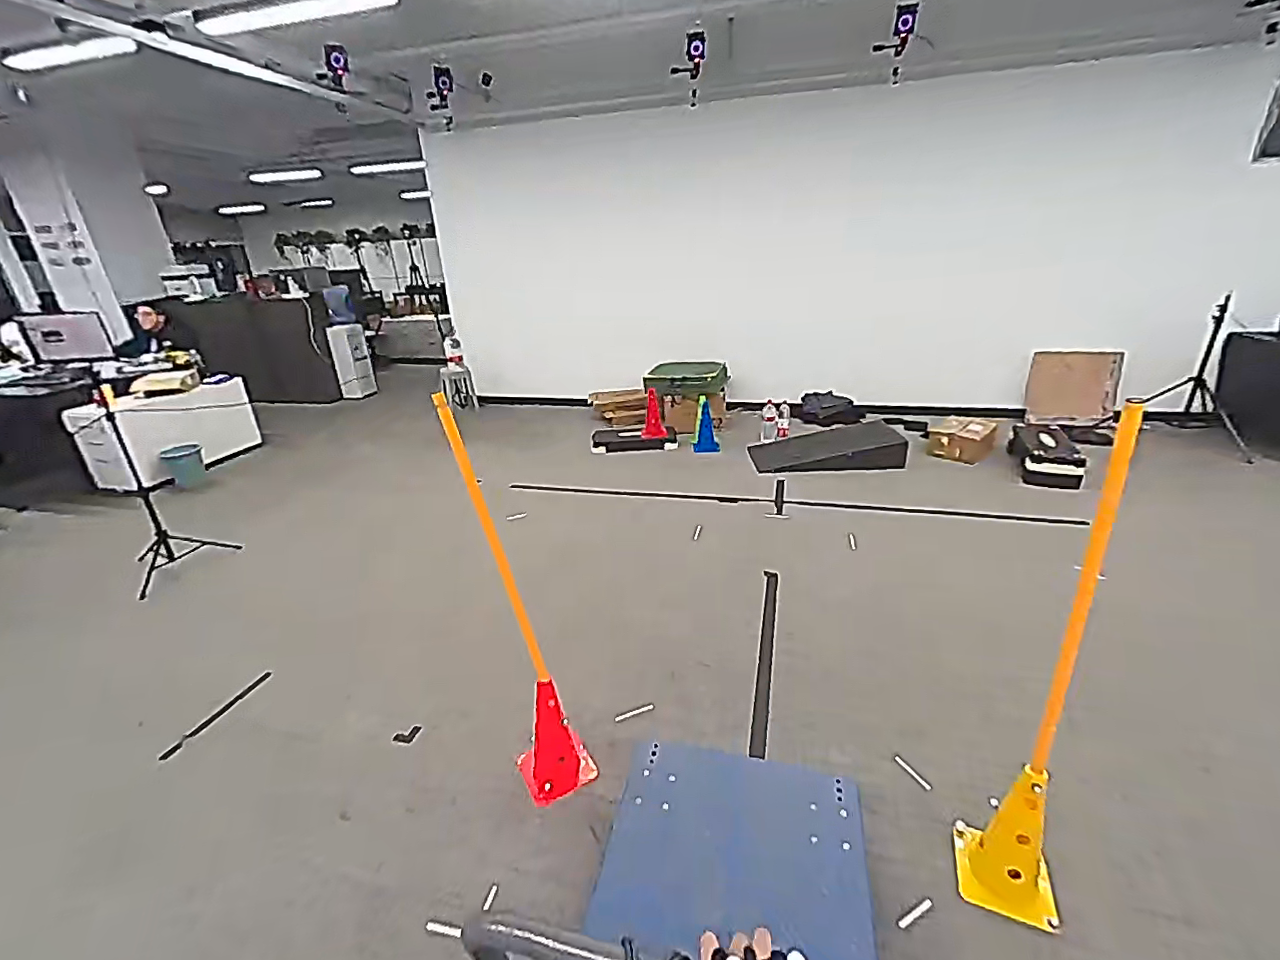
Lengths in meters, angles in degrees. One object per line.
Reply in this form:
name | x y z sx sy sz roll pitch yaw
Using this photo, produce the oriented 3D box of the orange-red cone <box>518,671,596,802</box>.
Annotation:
orange-red cone | -0.257 0.708 1.576 0.199 0.360 0.198 -13 27 -27
